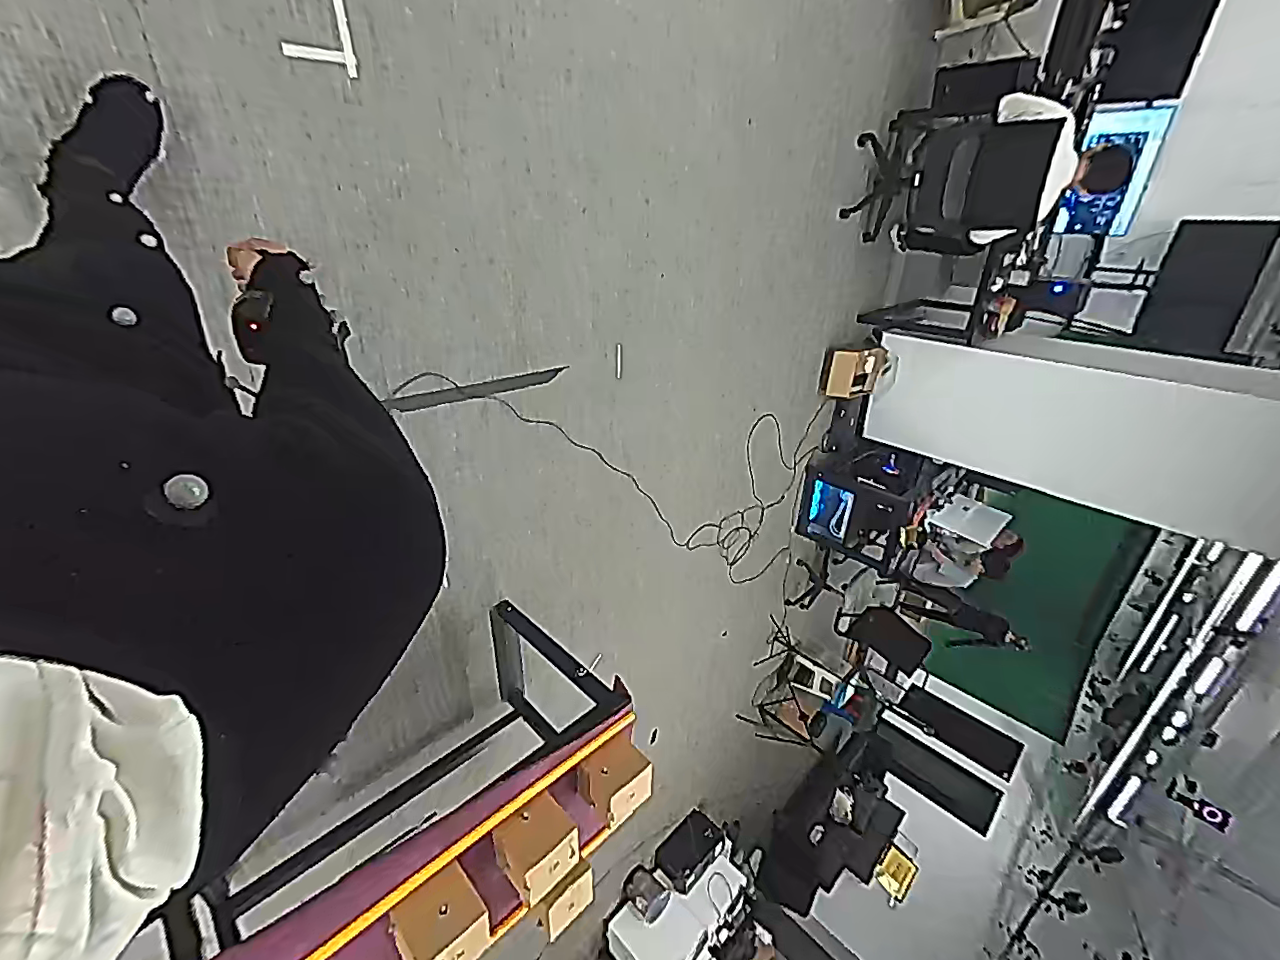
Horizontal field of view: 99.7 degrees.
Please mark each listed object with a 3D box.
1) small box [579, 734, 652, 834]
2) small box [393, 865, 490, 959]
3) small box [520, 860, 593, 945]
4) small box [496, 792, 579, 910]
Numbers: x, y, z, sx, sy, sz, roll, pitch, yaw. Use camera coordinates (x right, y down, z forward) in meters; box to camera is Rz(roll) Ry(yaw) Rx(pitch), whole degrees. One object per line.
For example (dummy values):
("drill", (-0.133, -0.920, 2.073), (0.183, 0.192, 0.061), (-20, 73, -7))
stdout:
("small box", (-0.082, 0.954, 1.712), (0.179, 0.176, 0.168), (-21, 125, -38))
("small box", (-0.495, 1.121, 1.340), (0.179, 0.176, 0.168), (-20, 125, -42))
("small box", (-0.263, 1.260, 1.672), (0.168, 0.176, 0.179), (-22, 123, -41))
("small box", (-0.293, 1.035, 1.522), (0.179, 0.176, 0.168), (-23, 125, -39))
